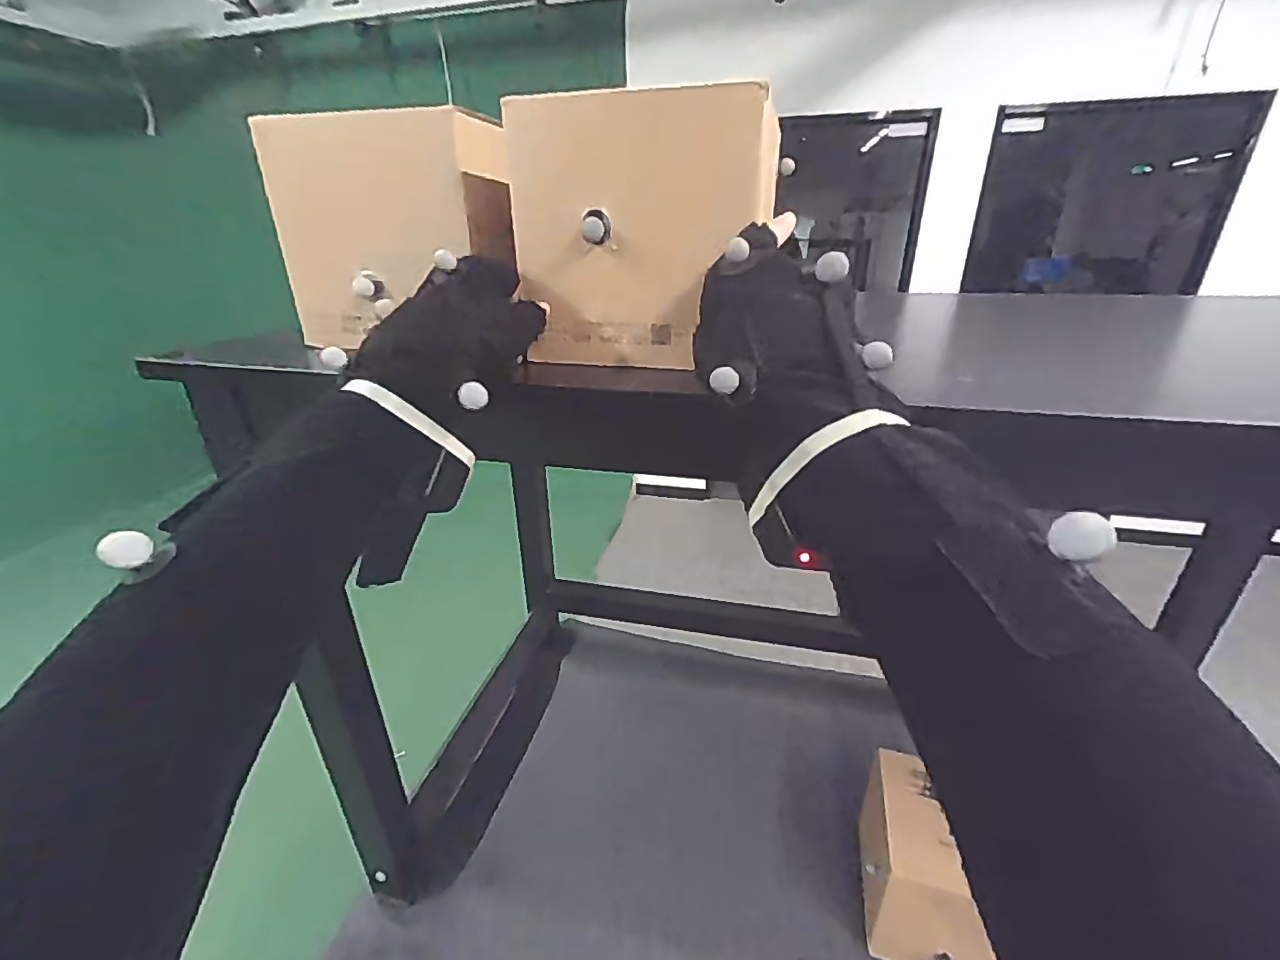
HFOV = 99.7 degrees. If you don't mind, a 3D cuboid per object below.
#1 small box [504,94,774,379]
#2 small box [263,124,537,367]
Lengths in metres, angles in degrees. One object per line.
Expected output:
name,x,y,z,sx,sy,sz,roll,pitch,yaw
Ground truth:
small box,0.015,-0.181,0.431,0.168,0.176,0.179,5,25,14
small box,-0.184,-0.208,0.491,0.168,0.176,0.179,4,26,12
